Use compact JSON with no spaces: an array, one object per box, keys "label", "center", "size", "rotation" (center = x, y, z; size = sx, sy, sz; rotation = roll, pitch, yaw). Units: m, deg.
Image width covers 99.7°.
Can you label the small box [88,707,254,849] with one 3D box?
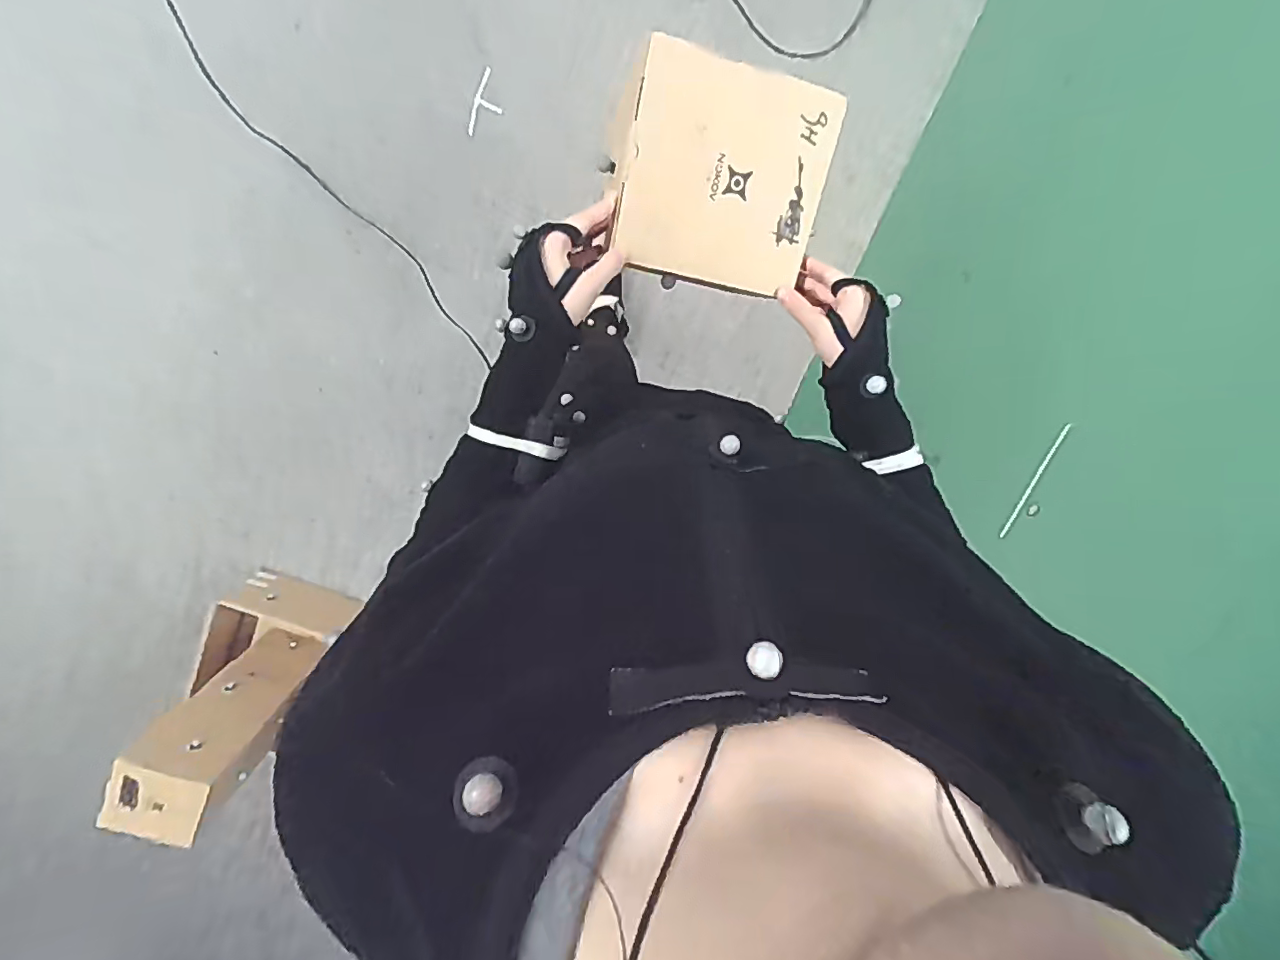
[{"label":"small box","center":[-0.944,0.599,1.106],"size":[0.179,0.176,0.168],"rotation":[25,100,-14]}]

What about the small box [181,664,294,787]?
[{"label":"small box","center":[-0.951,0.565,1.264],"size":[0.168,0.176,0.179],"rotation":[24,101,-10]}]
